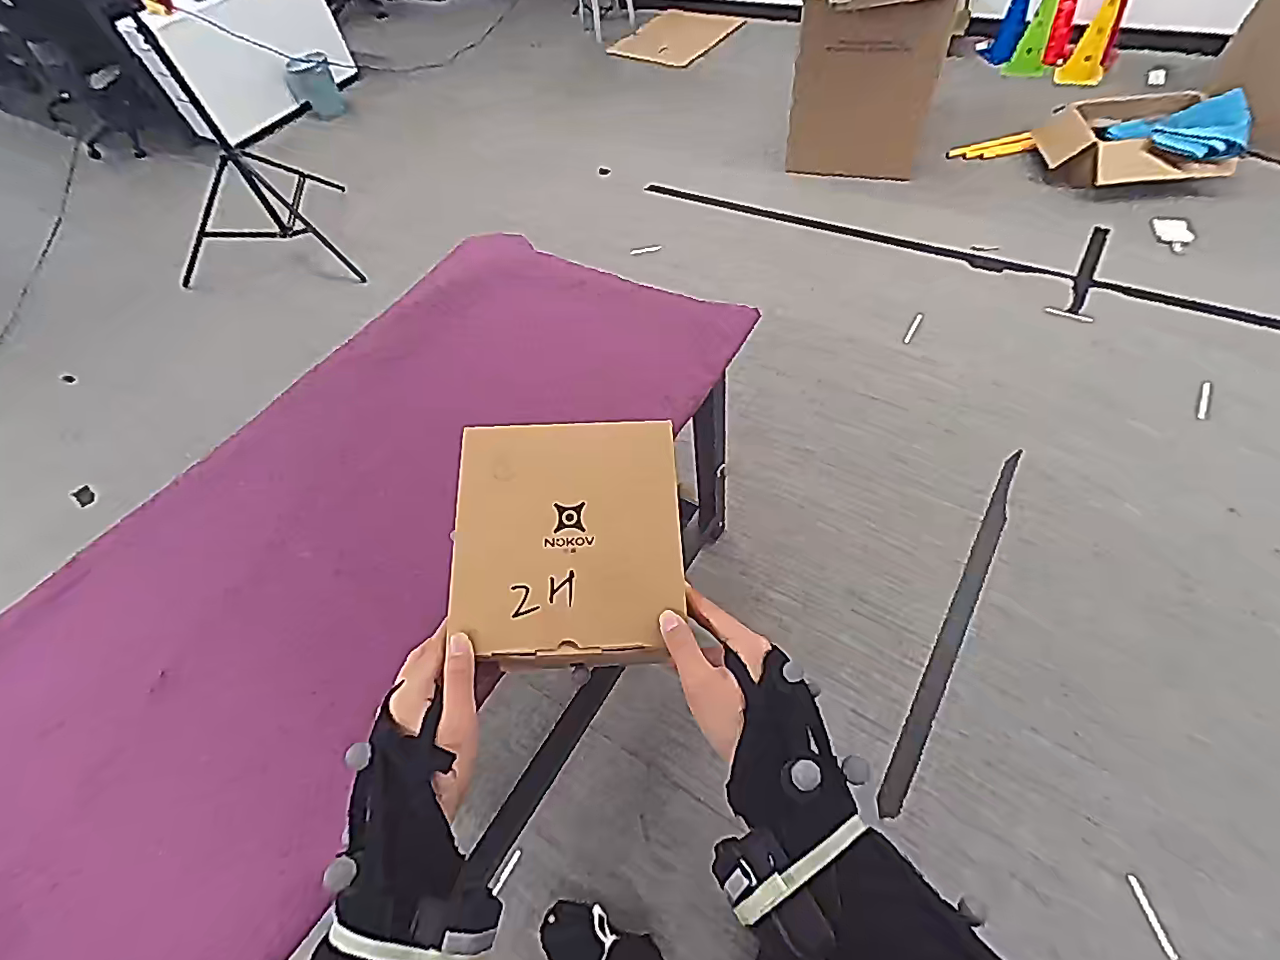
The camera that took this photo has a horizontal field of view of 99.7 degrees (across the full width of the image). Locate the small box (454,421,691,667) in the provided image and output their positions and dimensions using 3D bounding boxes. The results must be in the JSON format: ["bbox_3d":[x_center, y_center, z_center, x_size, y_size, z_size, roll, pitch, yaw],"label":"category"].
[{"bbox_3d":[-0.050,0.065,0.476,0.168,0.176,0.179,-1,68,-2],"label":"small box"}]
